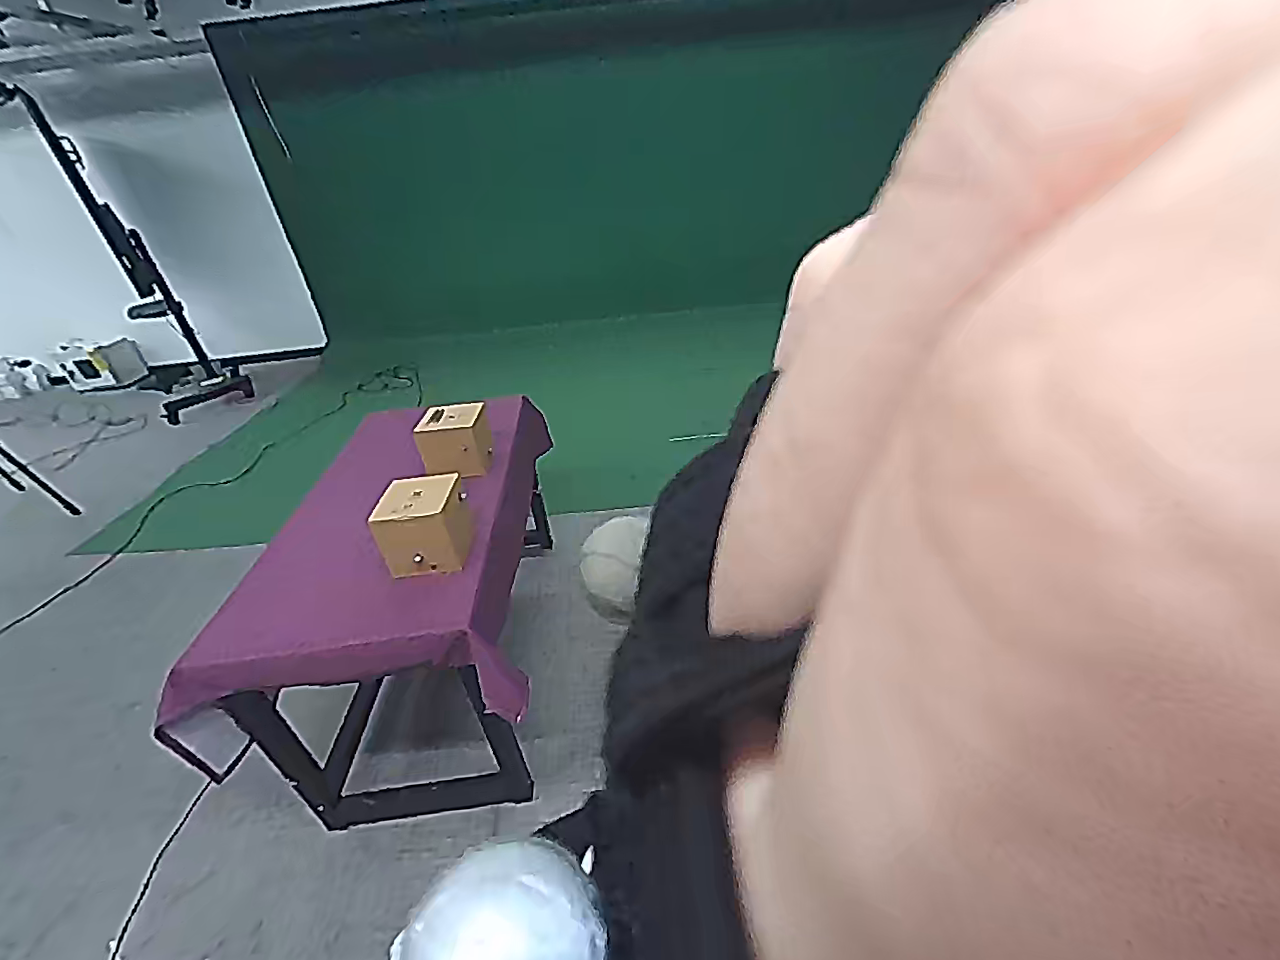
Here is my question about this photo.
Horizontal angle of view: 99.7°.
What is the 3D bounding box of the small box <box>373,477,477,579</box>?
[{"bbox_3d":[-0.506,0.115,1.304,0.168,0.176,0.179,-7,32,2],"label":"small box"}]
